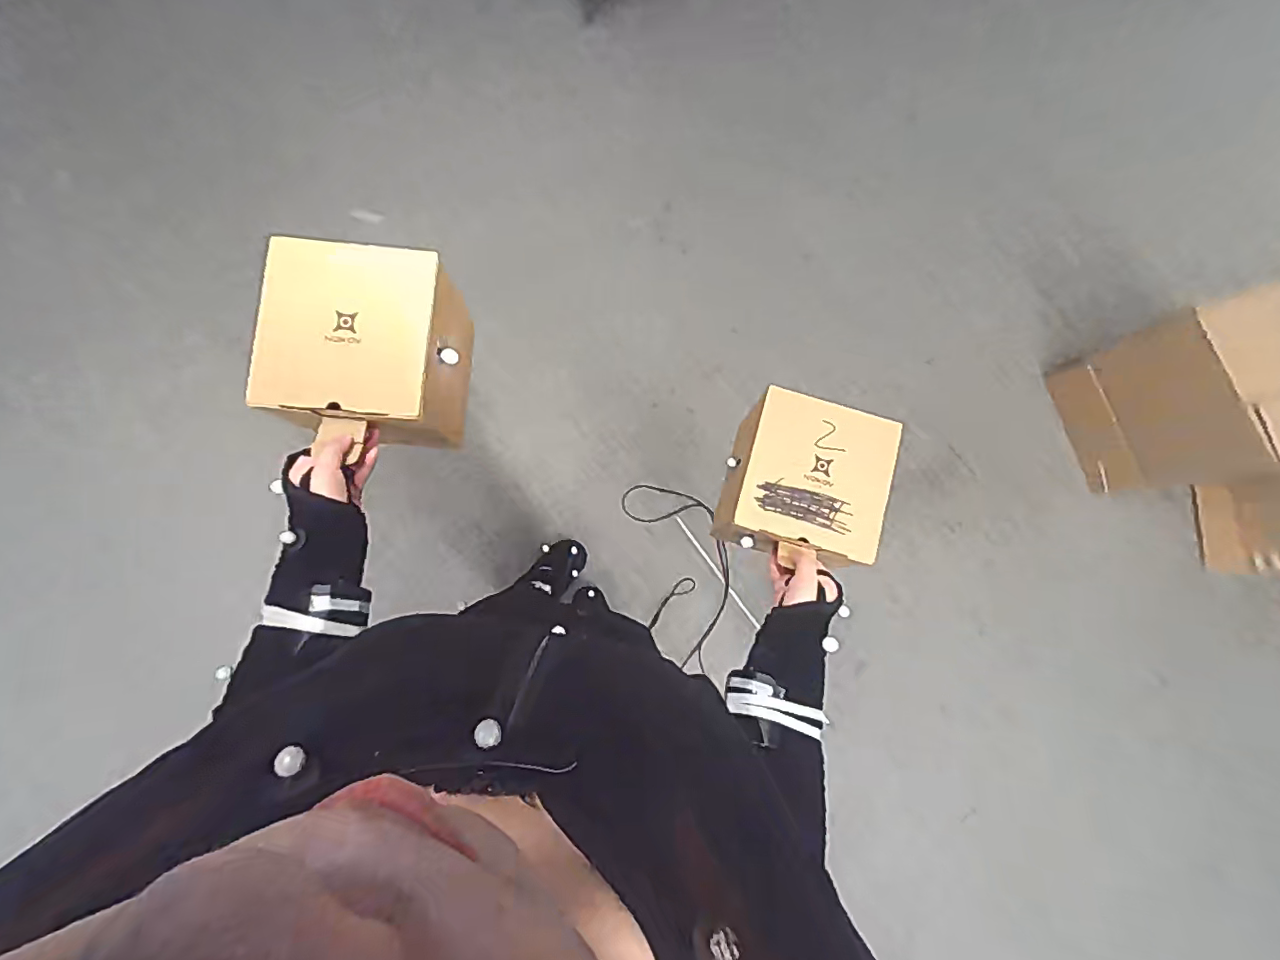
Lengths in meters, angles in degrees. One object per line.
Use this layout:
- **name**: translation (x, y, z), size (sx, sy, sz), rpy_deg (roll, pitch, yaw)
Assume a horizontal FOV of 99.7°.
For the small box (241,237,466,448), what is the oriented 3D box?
- **small box**: translation (-0.301, -0.140, 0.609), size (0.168, 0.176, 0.179), rpy_deg (4, 84, -5)
